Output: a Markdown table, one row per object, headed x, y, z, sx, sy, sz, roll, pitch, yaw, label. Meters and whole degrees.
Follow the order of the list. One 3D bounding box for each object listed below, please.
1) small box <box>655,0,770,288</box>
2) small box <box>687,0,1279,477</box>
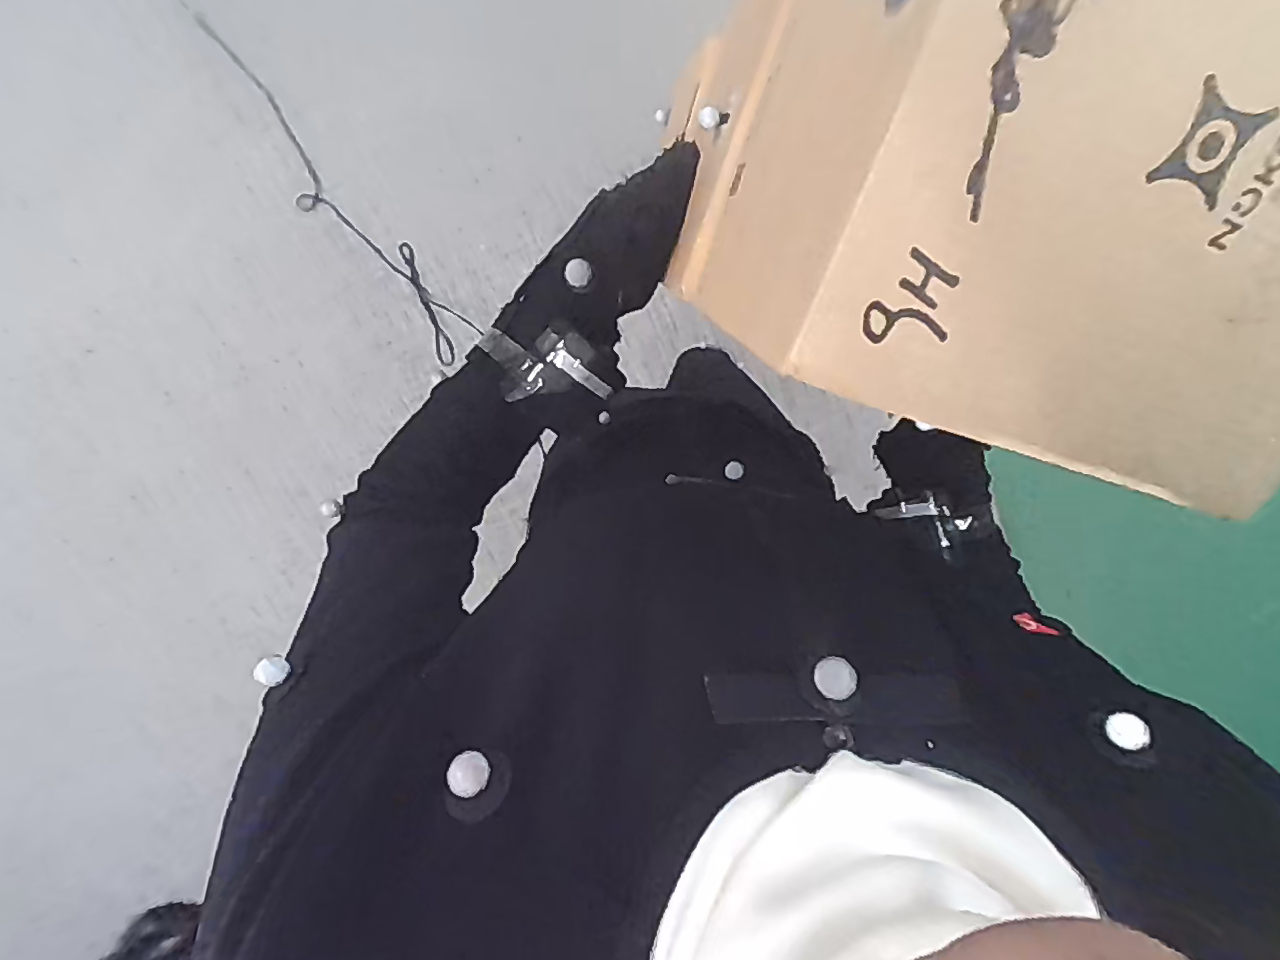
| x | y | z | sx | sy | sz | roll | pitch | yaw | label |
| --- | --- | --- | --- | --- | --- | --- | --- | --- | --- |
| 0.115 | -0.197 | 0.357 | 0.168 | 0.176 | 0.179 | 15 | 113 | -11 | small box |
| 0.135 | -0.123 | 0.212 | 0.179 | 0.176 | 0.168 | 14 | 111 | -11 | small box |
